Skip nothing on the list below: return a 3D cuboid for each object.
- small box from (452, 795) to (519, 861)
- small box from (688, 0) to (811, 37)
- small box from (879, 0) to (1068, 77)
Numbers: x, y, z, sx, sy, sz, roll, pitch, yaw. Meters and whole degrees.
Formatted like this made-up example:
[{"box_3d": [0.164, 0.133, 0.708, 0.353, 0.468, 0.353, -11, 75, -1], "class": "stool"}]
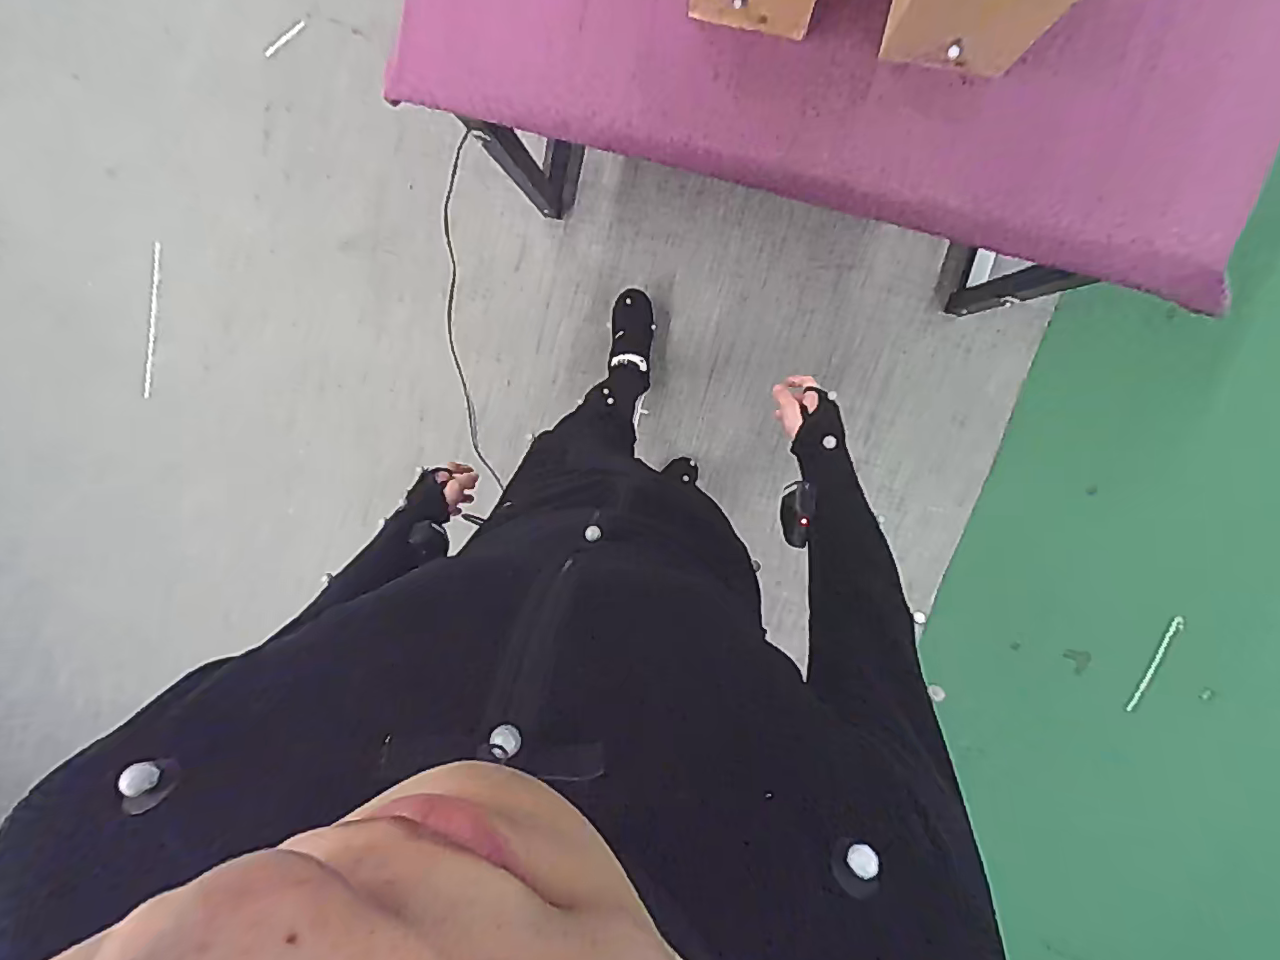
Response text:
[{"box_3d": [-0.499, 1.149, 1.708, 0.168, 0.176, 0.179, 19, 101, 0], "class": "small box"}, {"box_3d": [0.152, -0.695, 0.653, 0.168, 0.176, 0.179, 13, 101, 2], "class": "small box"}, {"box_3d": [0.409, -0.630, 0.642, 0.168, 0.176, 0.179, 12, 101, 3], "class": "small box"}]
